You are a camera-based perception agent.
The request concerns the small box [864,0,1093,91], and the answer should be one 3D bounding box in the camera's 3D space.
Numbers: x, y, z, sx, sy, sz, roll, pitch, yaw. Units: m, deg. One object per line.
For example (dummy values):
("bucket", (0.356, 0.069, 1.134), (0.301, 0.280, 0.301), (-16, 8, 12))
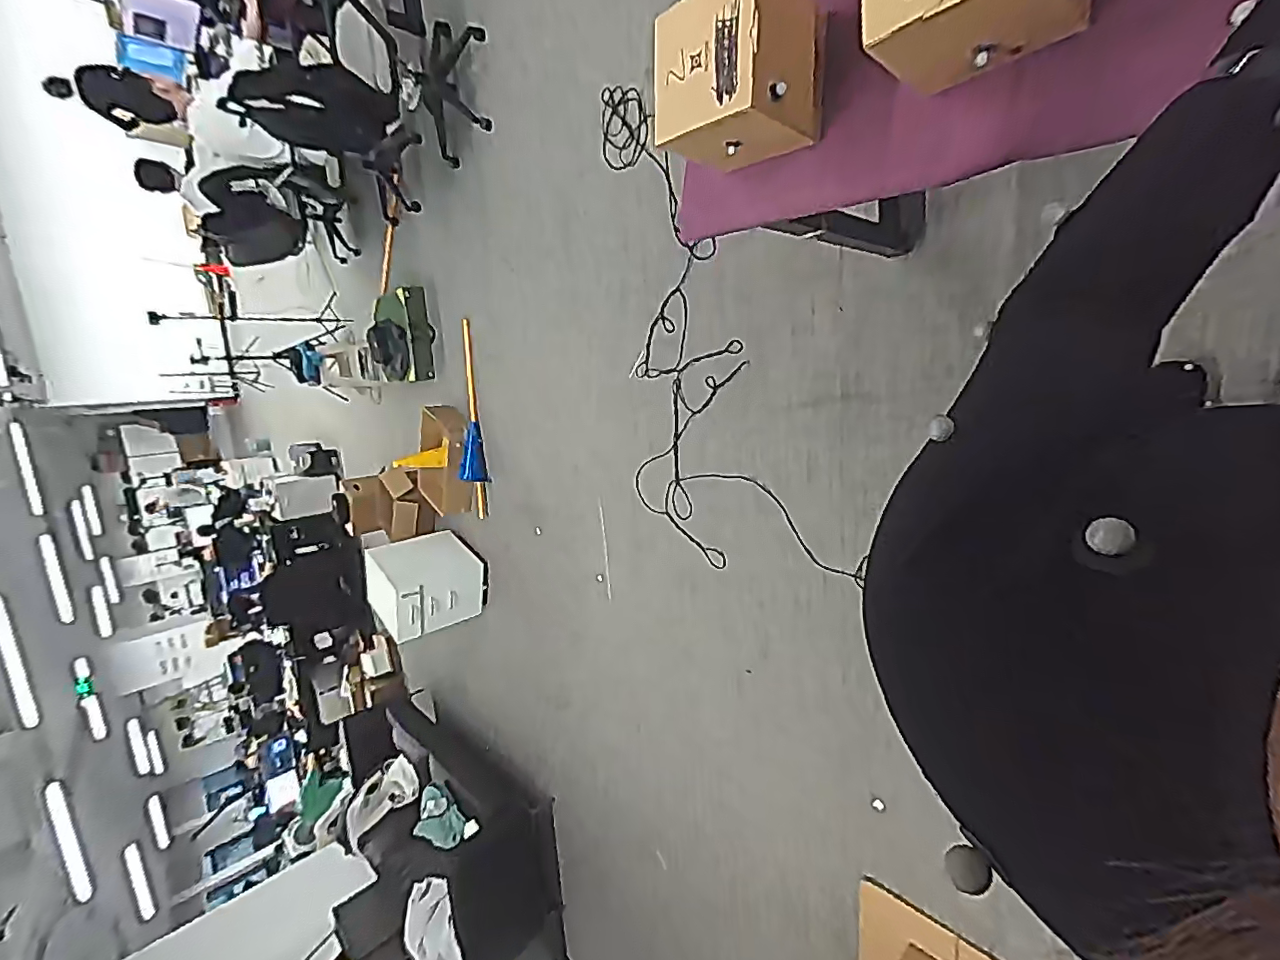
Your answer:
("small box", (0.346, -0.549, 0.552), (0.168, 0.176, 0.179), (4, 102, 48))
